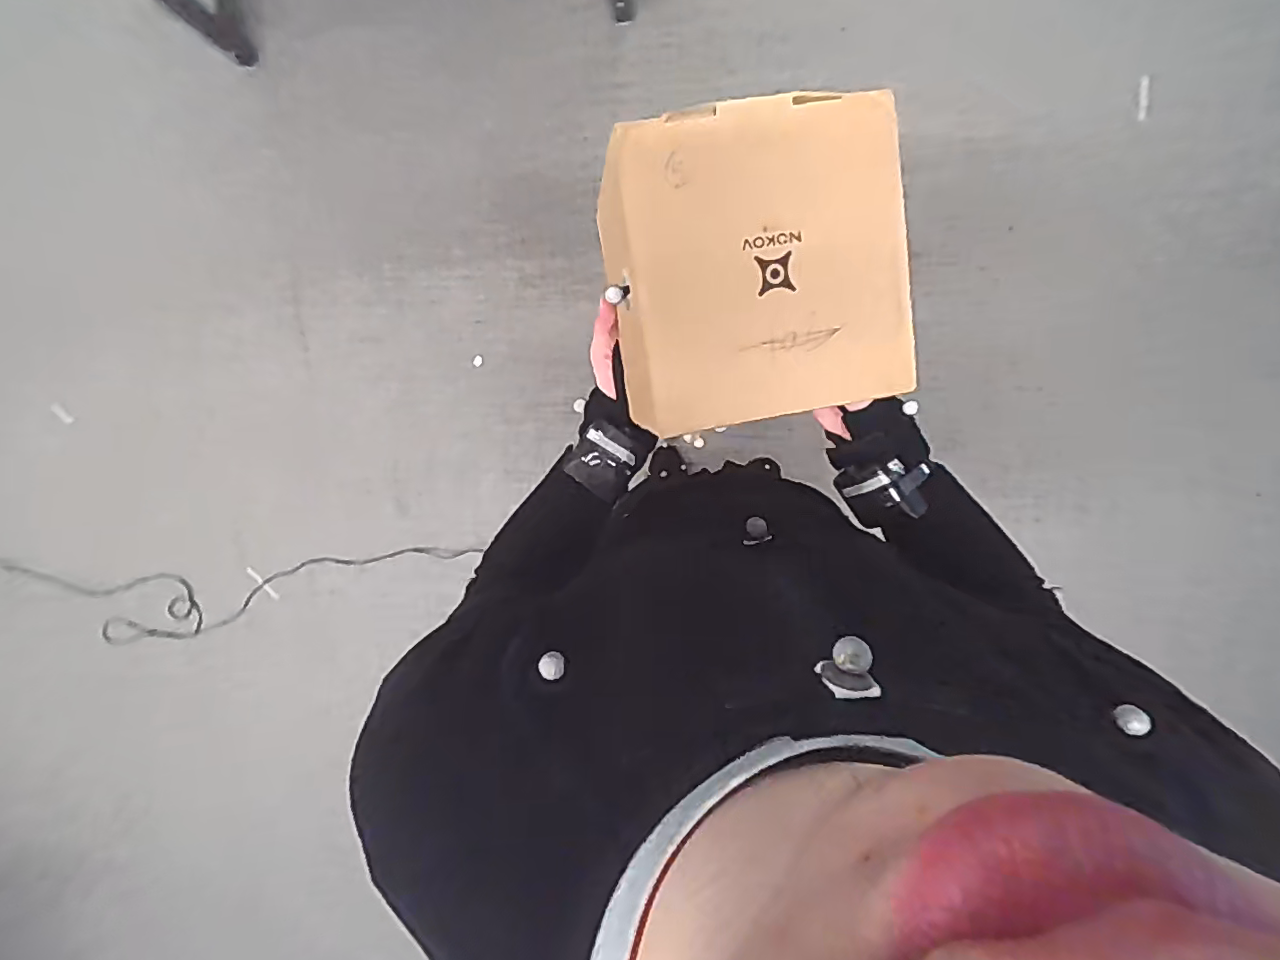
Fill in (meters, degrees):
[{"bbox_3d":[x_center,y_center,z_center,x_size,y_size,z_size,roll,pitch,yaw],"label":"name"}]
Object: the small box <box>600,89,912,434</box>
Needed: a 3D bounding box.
[{"bbox_3d":[0.067,-0.139,0.399,0.168,0.176,0.179,-12,101,-3],"label":"small box"}]
